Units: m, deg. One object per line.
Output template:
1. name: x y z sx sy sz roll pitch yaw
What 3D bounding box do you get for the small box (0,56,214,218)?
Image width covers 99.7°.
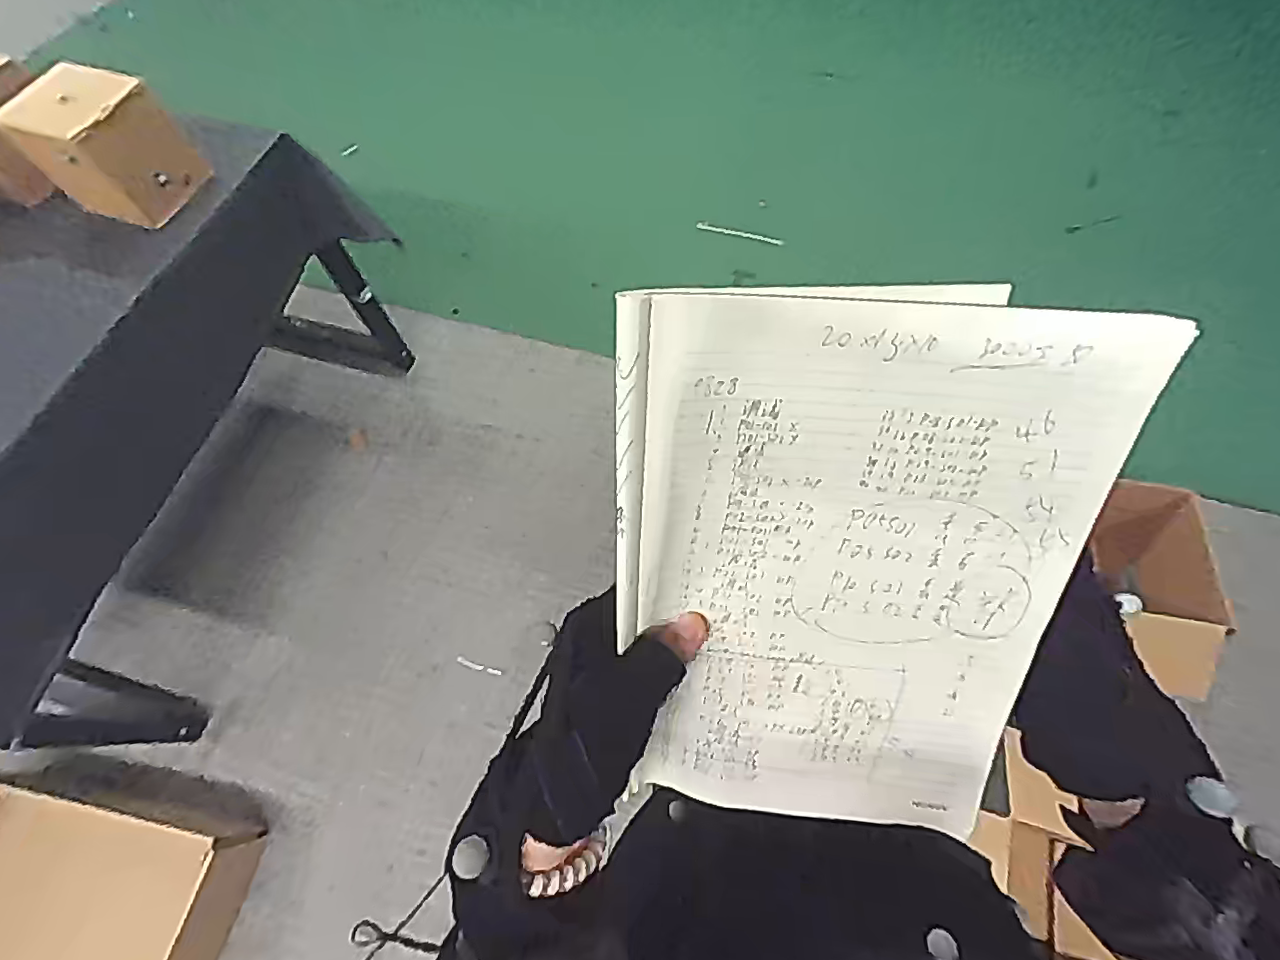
1. small box: -0.920 -0.594 0.947 0.179 0.176 0.168 18 66 8

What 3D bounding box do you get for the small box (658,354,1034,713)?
1. small box: 0.109 0.017 0.350 0.179 0.176 0.168 -10 102 -1
